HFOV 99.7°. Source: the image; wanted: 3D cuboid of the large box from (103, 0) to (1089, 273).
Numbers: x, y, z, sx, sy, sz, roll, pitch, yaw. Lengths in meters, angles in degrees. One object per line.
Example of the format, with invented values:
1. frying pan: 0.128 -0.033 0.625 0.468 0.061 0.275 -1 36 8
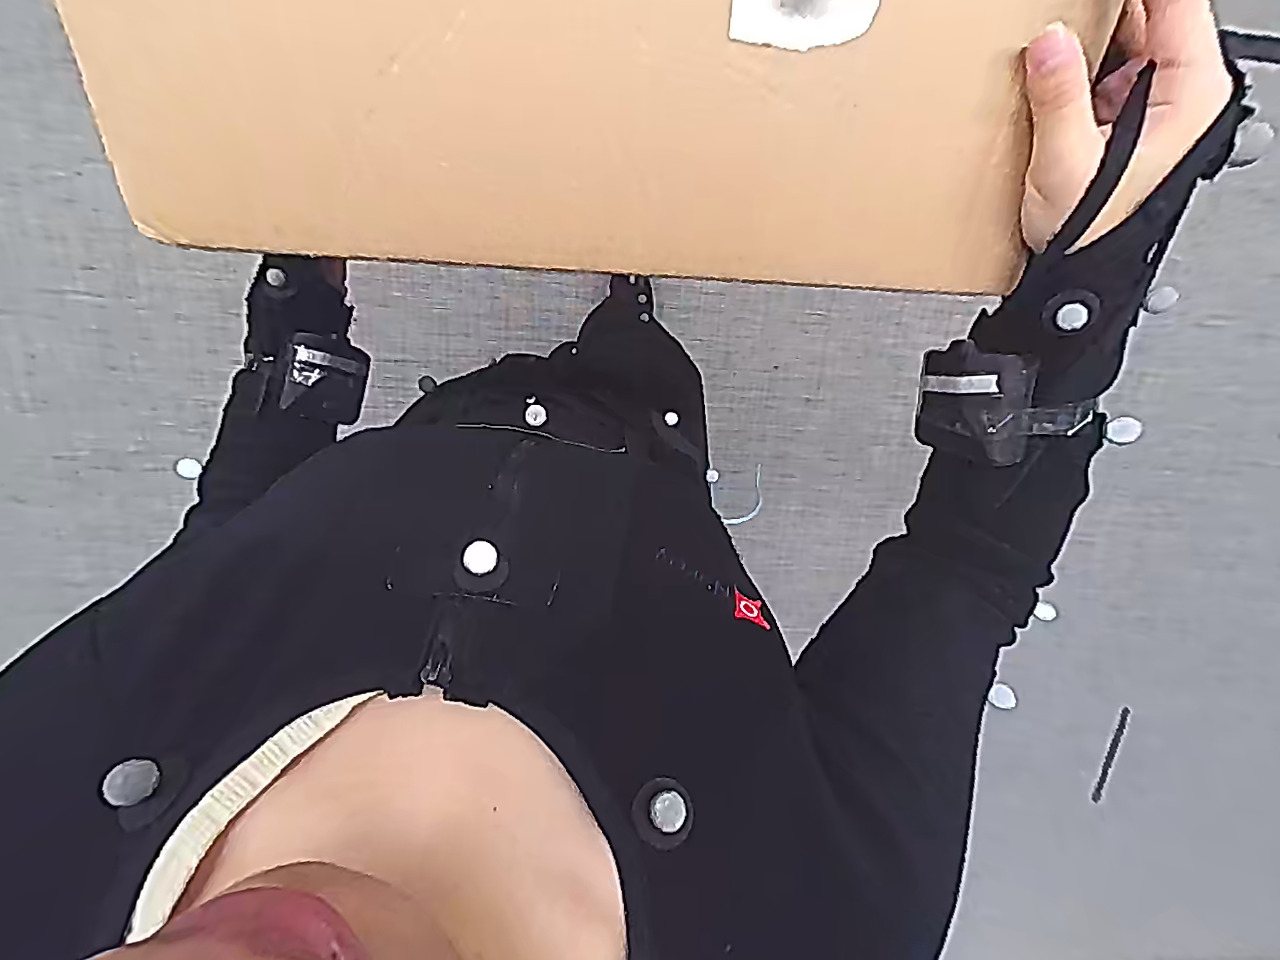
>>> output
1. large box: -0.018 -0.310 0.326 0.408 0.320 0.320 0 117 -8
